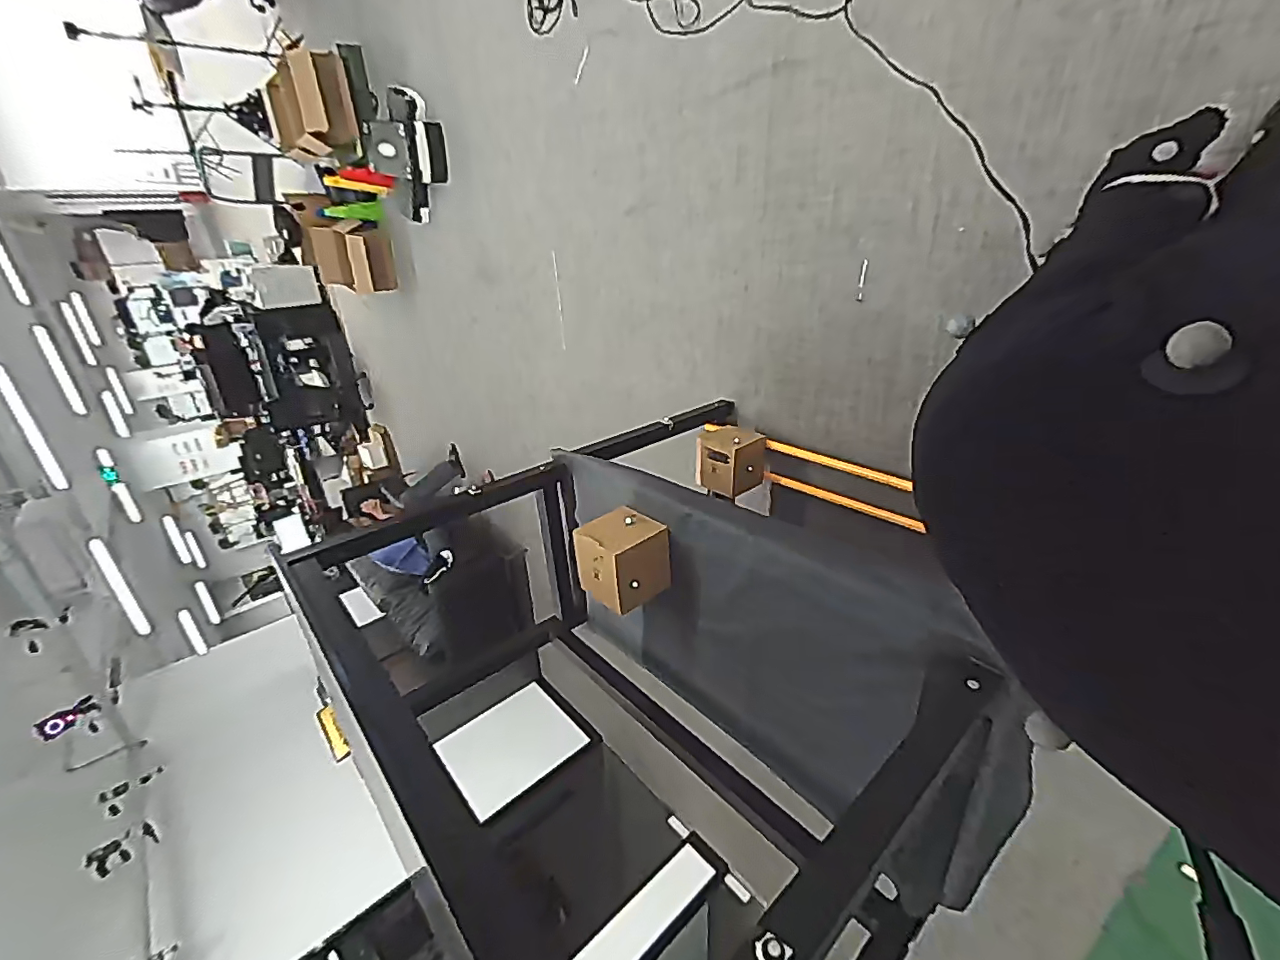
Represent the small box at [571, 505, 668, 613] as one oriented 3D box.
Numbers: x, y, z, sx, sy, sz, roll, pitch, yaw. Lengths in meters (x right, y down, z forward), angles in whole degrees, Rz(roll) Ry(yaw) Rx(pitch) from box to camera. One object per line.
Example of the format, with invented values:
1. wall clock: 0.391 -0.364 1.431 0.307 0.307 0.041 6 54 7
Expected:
1. small box: -0.045 0.186 1.321 0.168 0.176 0.179 22 126 43
